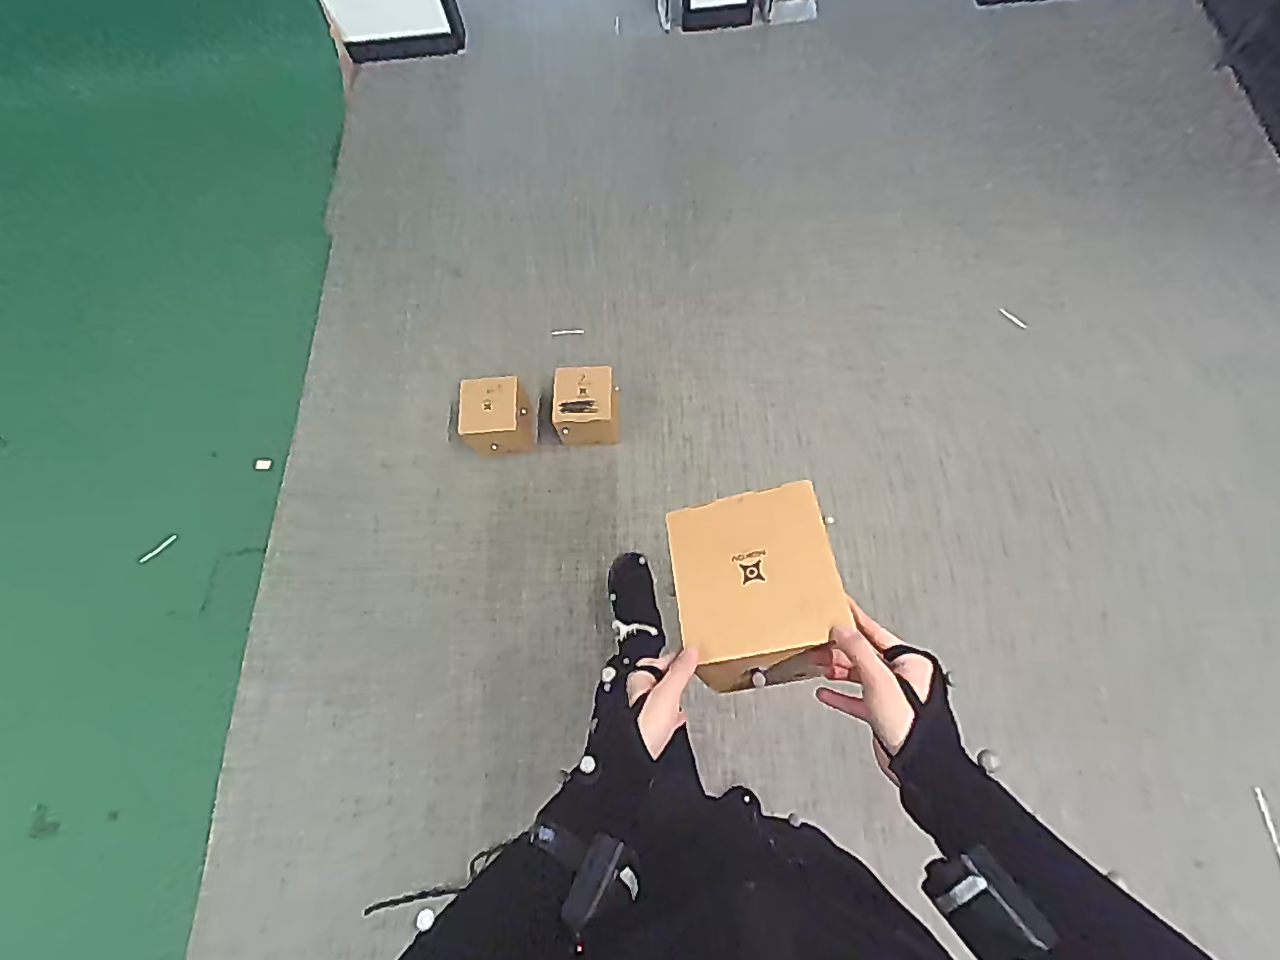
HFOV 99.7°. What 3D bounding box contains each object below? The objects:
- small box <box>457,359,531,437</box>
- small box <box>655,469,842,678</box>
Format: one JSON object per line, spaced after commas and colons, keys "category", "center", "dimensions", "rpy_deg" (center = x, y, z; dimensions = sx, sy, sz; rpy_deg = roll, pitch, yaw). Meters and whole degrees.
{"category": "small box", "center": [-0.420, -0.233, 1.581], "dimensions": [0.168, 0.176, 0.179], "rpy_deg": [-2, 71, 2]}
{"category": "small box", "center": [0.123, 0.116, 0.606], "dimensions": [0.168, 0.176, 0.179], "rpy_deg": [-12, 57, 12]}
